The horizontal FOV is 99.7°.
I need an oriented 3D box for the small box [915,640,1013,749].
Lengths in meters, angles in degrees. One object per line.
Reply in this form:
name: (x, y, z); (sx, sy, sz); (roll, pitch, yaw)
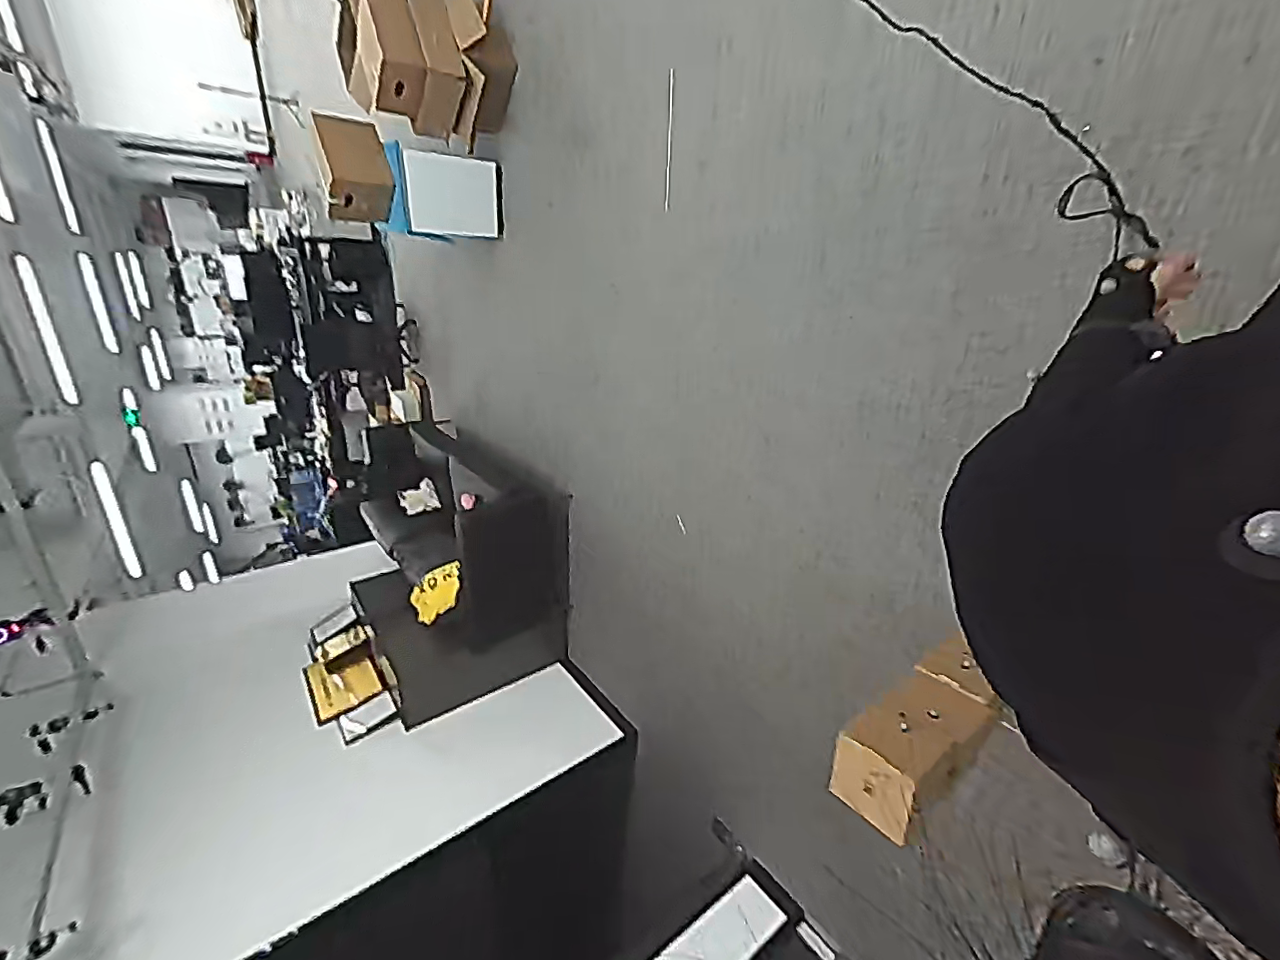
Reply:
small box: (0.795, 0.530, 1.347); (0.168, 0.176, 0.179); (25, 121, 48)

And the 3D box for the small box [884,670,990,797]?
small box: (0.670, 0.572, 1.249); (0.179, 0.176, 0.168); (26, 123, 48)

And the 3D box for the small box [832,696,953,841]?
small box: (0.538, 0.605, 1.156); (0.168, 0.176, 0.179); (24, 121, 48)
